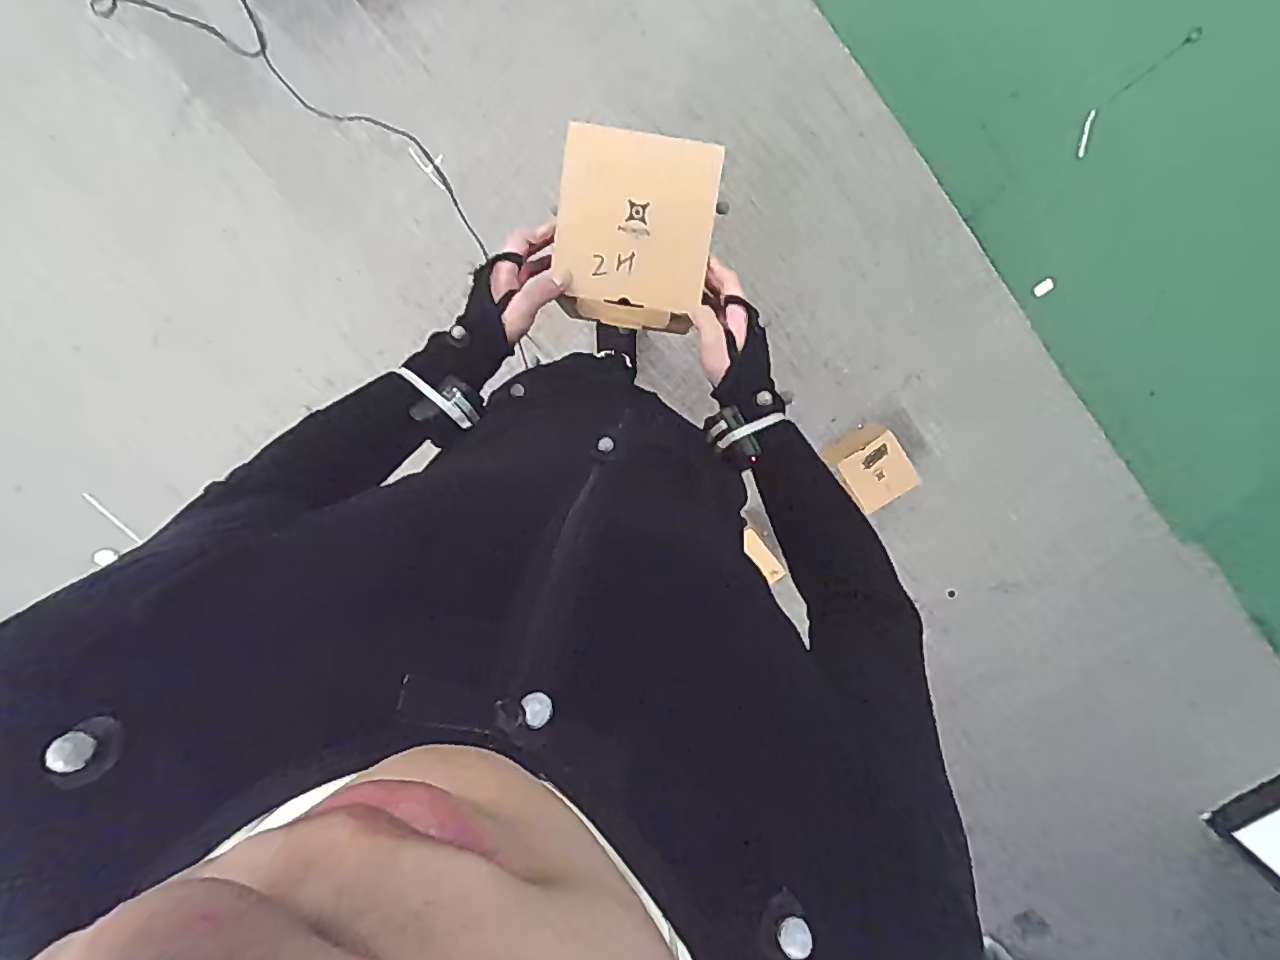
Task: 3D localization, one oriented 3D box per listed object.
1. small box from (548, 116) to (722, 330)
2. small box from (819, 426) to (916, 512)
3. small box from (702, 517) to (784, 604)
[{"bbox_3d":[-0.008,-0.289,0.648,0.168,0.176,0.179,8,98,-1],"label":"small box"},{"bbox_3d":[0.638,-0.040,1.542,0.168,0.176,0.179,-34,101,11],"label":"small box"},{"bbox_3d":[0.298,0.227,1.607,0.168,0.176,0.179,-37,99,11],"label":"small box"}]
